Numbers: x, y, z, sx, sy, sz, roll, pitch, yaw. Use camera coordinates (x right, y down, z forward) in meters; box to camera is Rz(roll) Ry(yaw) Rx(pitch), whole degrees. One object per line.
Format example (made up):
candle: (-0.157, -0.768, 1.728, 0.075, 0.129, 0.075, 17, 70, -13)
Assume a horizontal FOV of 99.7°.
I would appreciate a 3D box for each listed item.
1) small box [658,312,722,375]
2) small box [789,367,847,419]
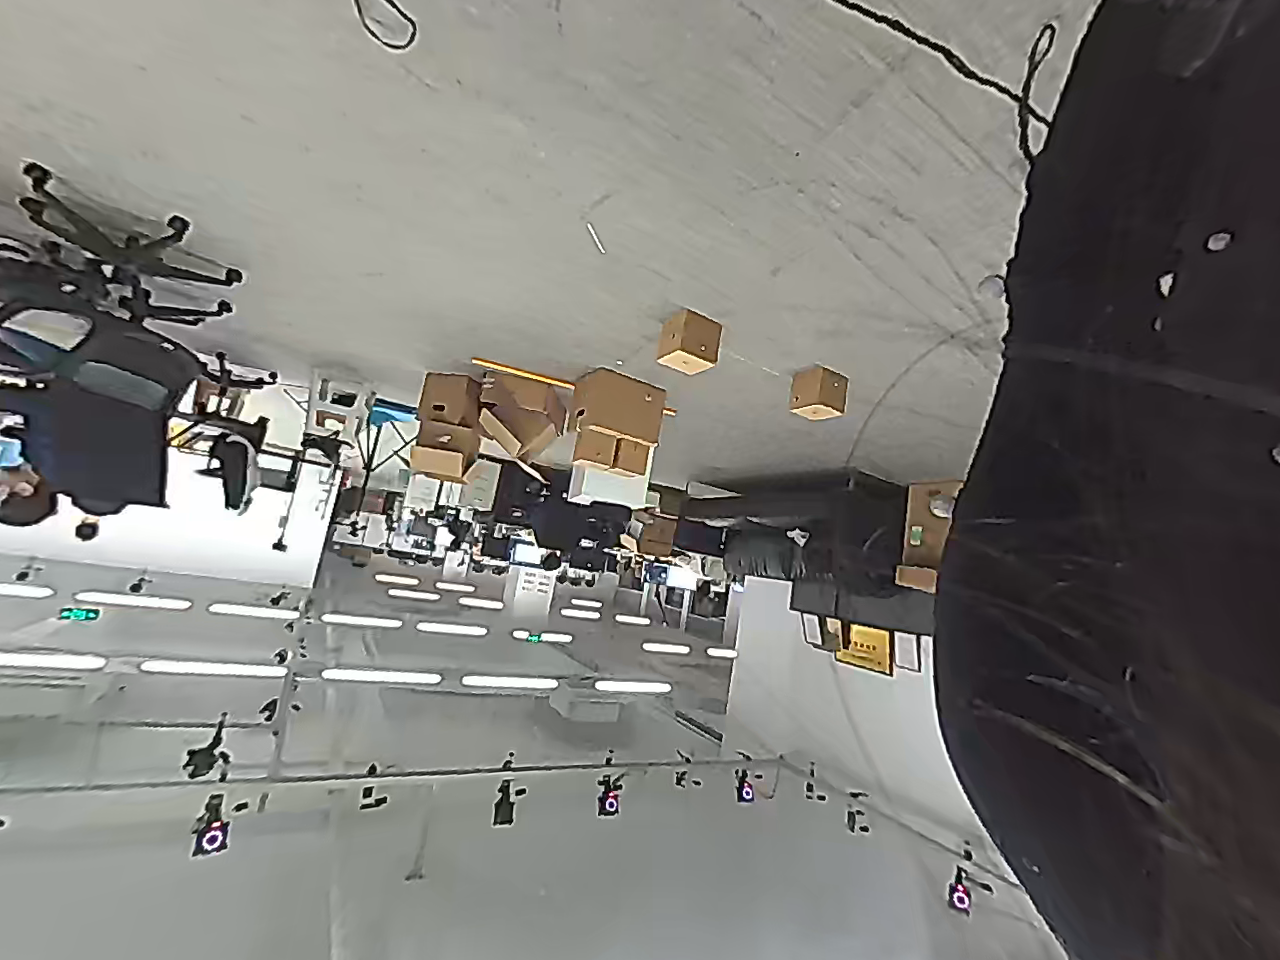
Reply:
small box: (0.192, -0.525, 2.063, 0.179, 0.176, 0.168, 13, 170, -28)
small box: (0.786, -0.381, 2.372, 0.168, 0.176, 0.179, 14, 170, -28)
